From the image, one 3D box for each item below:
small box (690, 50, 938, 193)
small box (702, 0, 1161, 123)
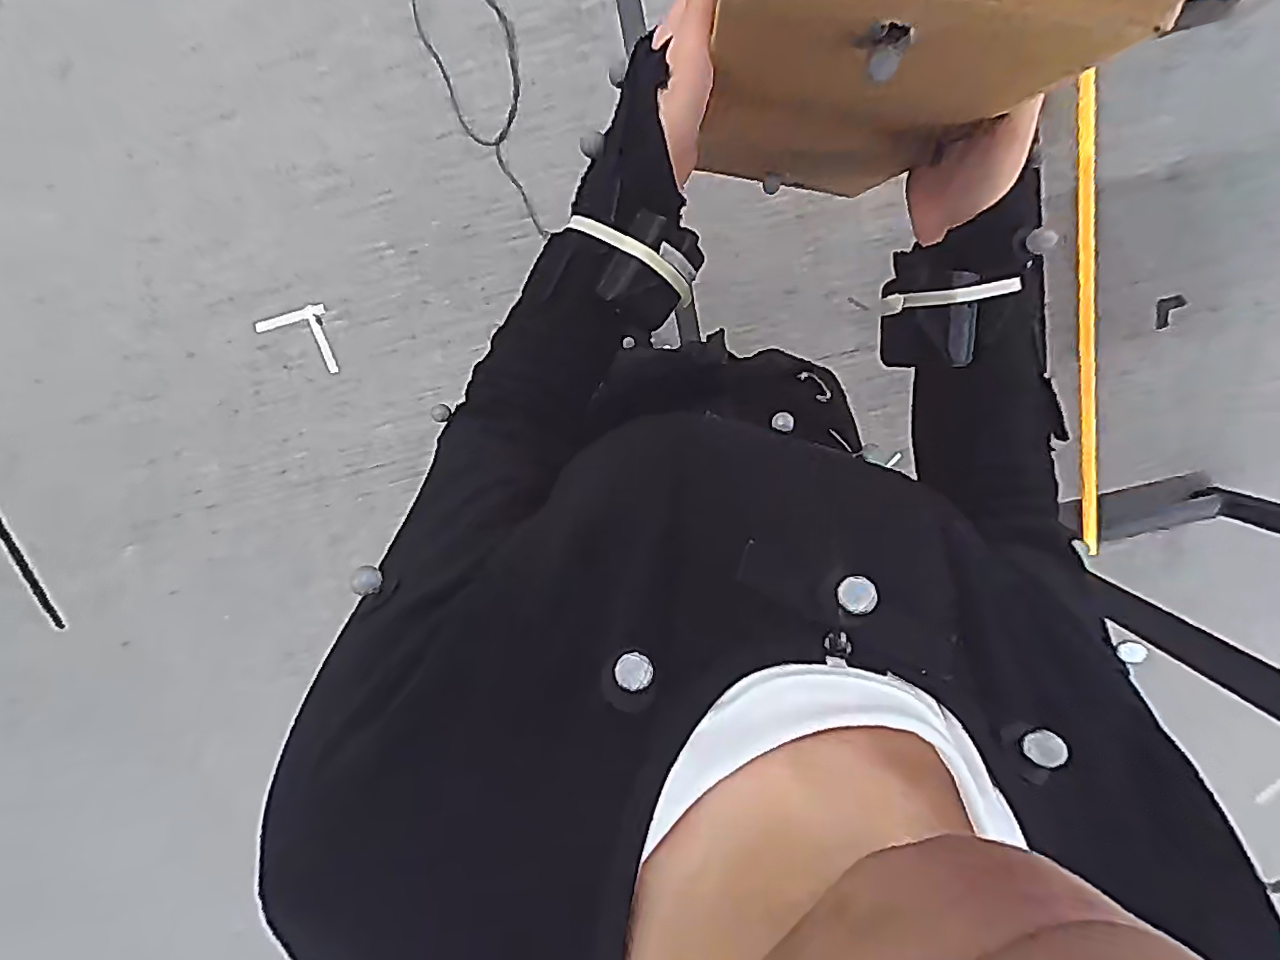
[{"bbox_3d":[0.133,-0.340,0.413,0.168,0.176,0.179,10,110,0],"label":"small box"},{"bbox_3d":[0.132,-0.293,0.257,0.179,0.176,0.168,10,110,1],"label":"small box"}]
